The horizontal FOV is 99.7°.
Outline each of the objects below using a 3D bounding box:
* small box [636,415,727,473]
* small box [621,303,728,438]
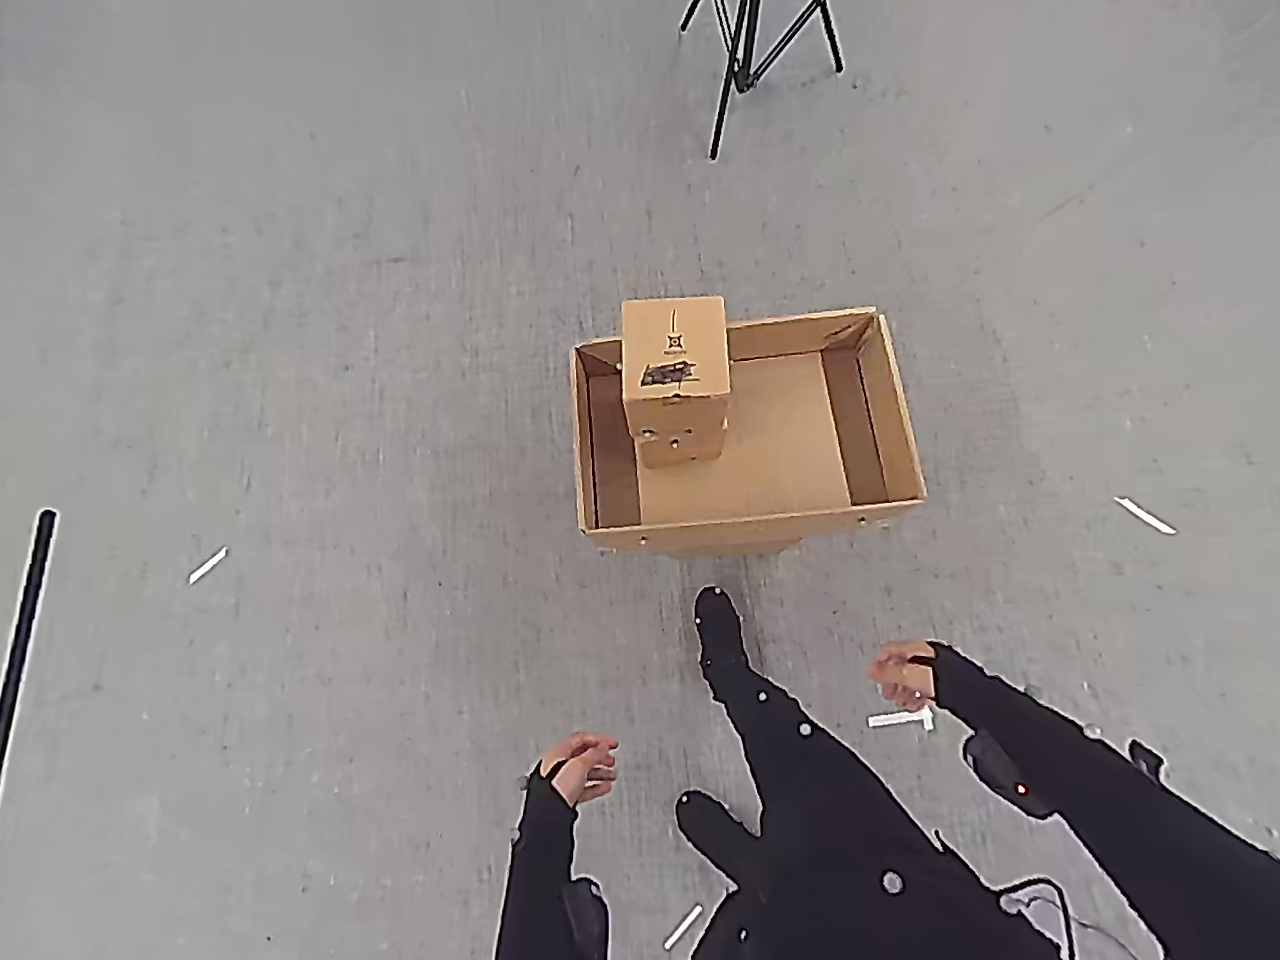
[{"bbox_3d":[0.071,-0.129,1.077,0.168,0.176,0.179,-8,74,1],"label":"small box"},{"bbox_3d":[0.057,-0.175,0.919,0.168,0.176,0.179,-2,74,2],"label":"small box"}]
